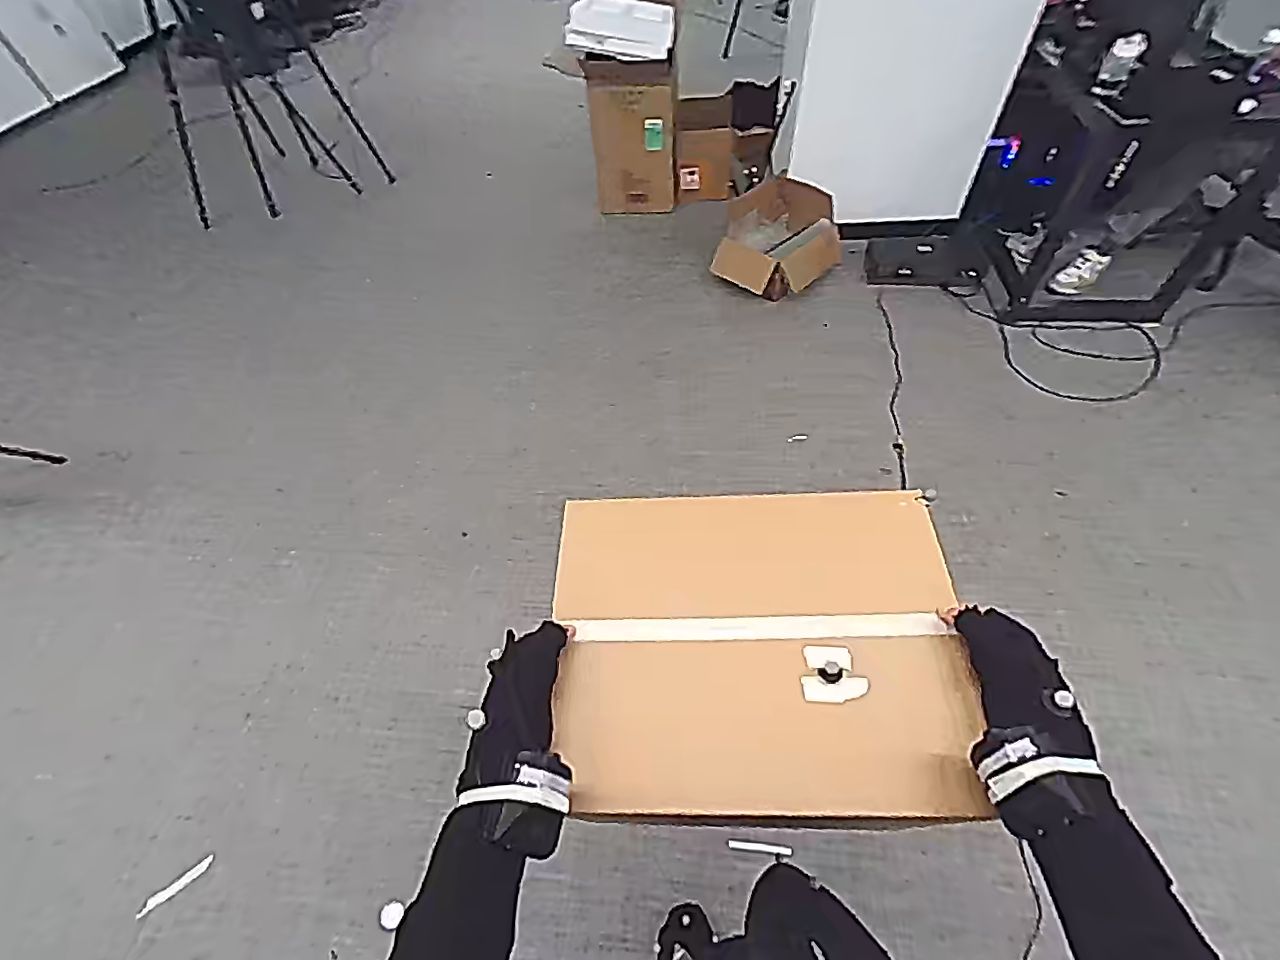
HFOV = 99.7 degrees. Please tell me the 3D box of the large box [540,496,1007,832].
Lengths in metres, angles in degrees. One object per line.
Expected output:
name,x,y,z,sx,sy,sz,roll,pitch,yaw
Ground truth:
large box,0.117,0.238,0.662,0.408,0.320,0.320,-2,56,3
